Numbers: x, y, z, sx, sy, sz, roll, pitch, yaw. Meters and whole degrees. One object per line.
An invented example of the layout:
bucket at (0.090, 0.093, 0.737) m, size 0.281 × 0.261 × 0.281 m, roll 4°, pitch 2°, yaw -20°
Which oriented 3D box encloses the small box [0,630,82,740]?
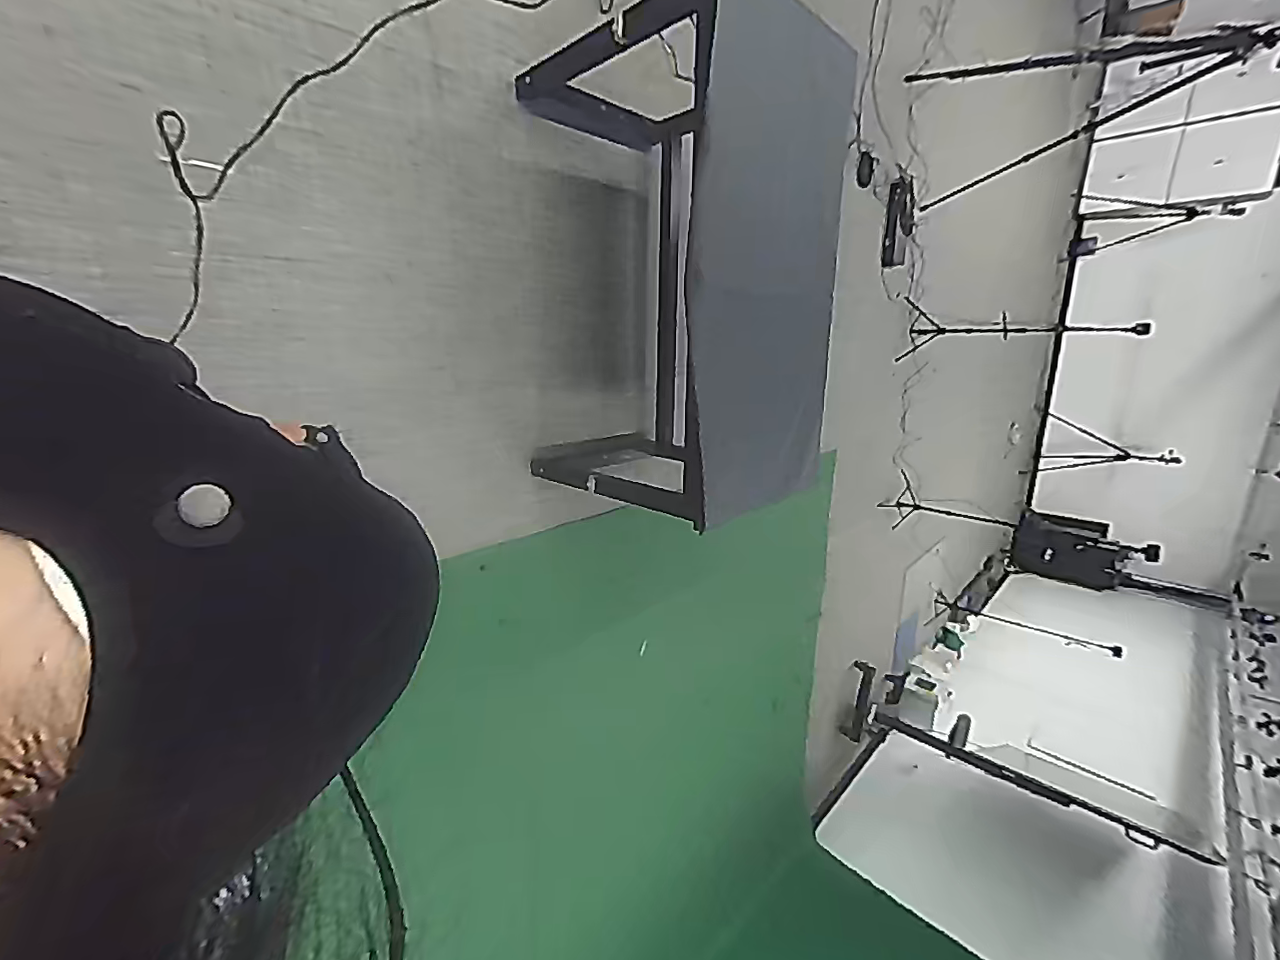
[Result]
small box at (-1.113, 0.381, 0.948) m, size 0.168 × 0.176 × 0.179 m, roll -9°, pitch 105°, yaw -45°

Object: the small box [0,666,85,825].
small box at (-1.000, 0.416, 0.835) m, size 0.179 × 0.176 × 0.168 m, roll -13°, pitch 107°, yaw -44°
